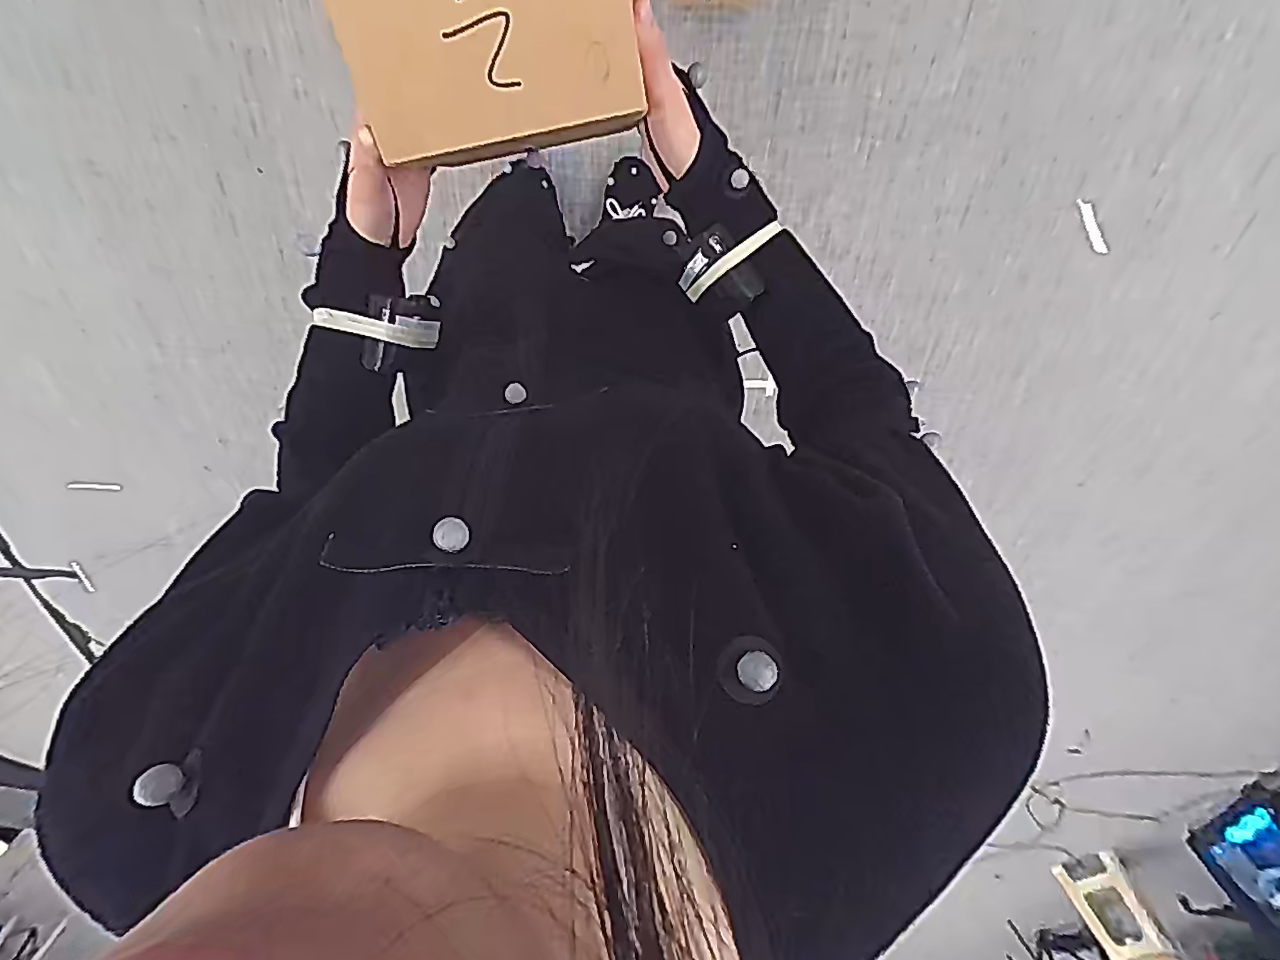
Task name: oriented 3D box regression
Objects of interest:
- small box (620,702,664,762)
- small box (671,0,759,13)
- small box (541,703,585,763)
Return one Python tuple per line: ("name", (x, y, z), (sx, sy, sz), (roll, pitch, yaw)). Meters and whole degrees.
("small box", (0.004, 1.046, 2.250), (0.168, 0.176, 0.179), (3, 124, -3))
("small box", (0.140, -0.954, 0.947), (0.168, 0.176, 0.179), (1, 122, -2))
("small box", (-0.319, 1.050, 2.249), (0.168, 0.176, 0.179), (4, 124, -3))
